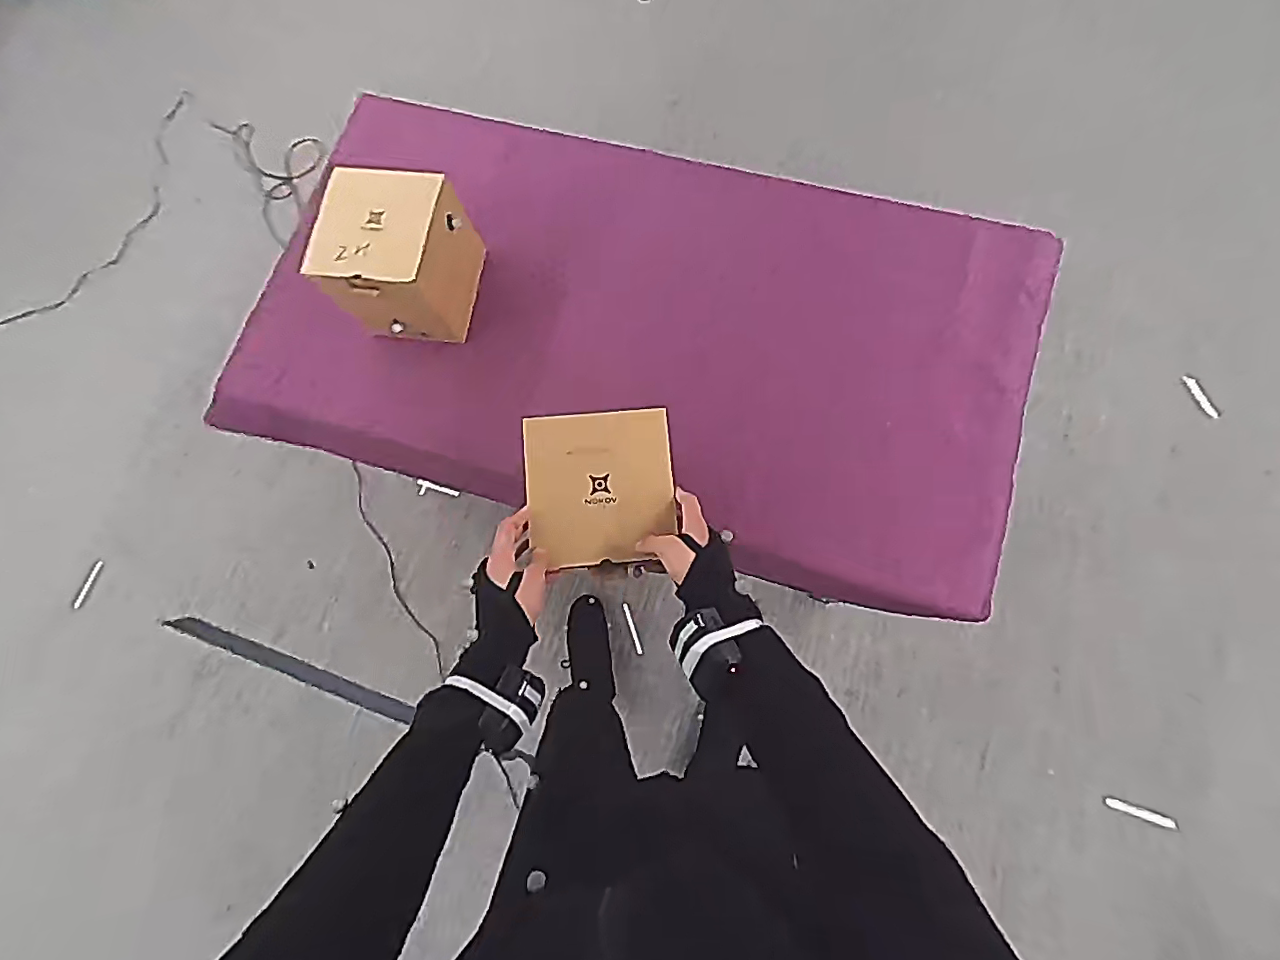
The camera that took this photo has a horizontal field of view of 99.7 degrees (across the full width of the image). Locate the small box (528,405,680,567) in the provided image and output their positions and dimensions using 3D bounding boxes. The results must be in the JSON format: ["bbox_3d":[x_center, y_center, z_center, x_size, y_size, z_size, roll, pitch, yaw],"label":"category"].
[{"bbox_3d":[-0.043,0.017,0.676,0.168,0.176,0.179,-3,80,-3],"label":"small box"}]

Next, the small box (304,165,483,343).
[{"bbox_3d":[-0.351,-0.330,0.808,0.168,0.176,0.179,7,78,7],"label":"small box"}]
